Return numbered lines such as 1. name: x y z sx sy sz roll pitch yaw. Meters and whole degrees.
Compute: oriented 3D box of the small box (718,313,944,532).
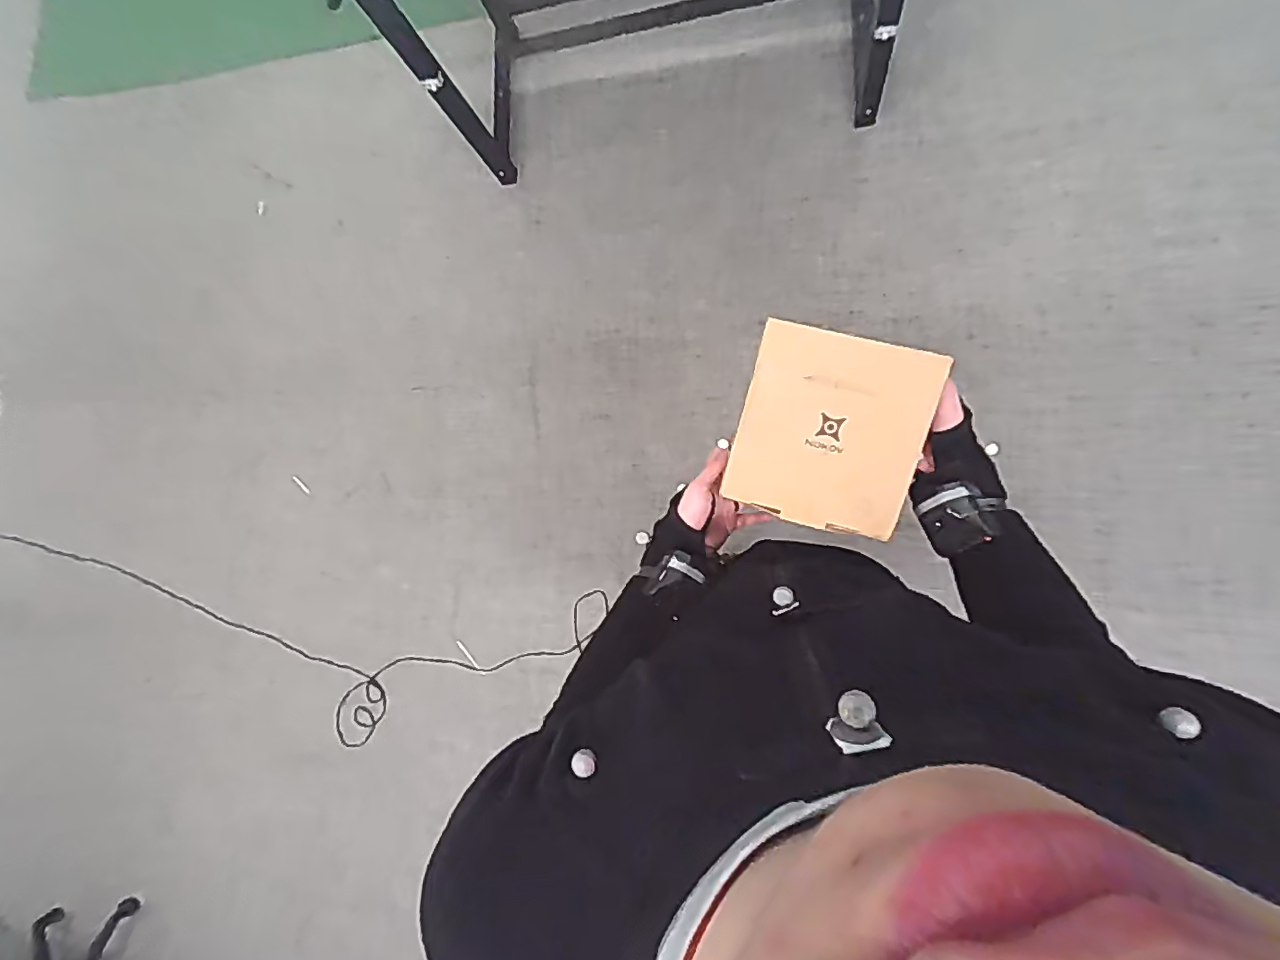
1. small box: 0.187 -0.065 0.581 0.168 0.176 0.179 14 101 7
